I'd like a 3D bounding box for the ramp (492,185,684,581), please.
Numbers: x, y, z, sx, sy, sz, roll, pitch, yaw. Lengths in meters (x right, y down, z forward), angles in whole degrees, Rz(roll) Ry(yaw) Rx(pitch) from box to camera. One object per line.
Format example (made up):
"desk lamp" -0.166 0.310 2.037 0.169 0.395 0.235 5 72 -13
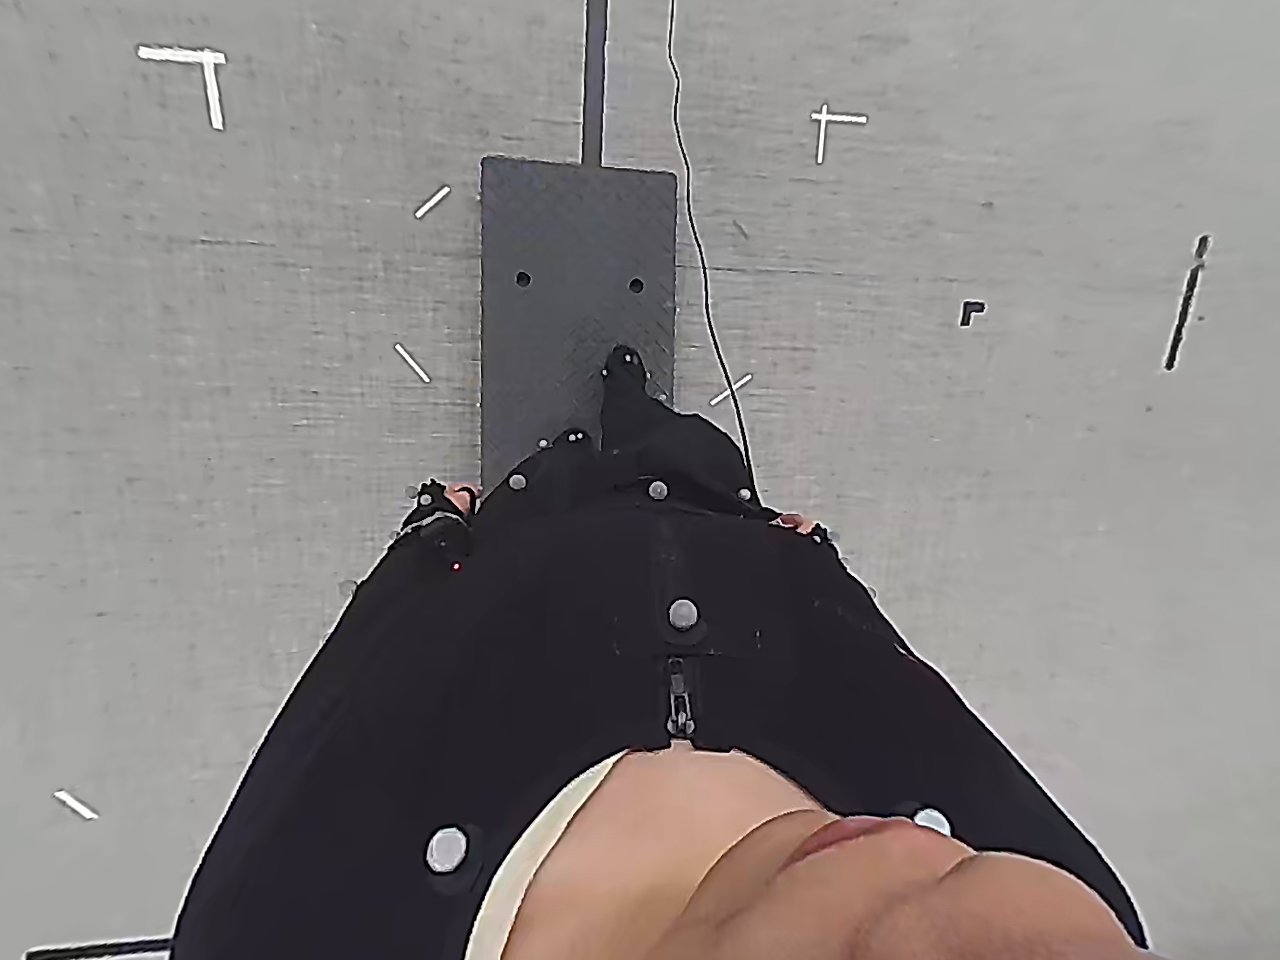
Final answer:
"ramp" -0.129 -0.243 1.386 0.509 0.206 0.991 -1 100 -6
